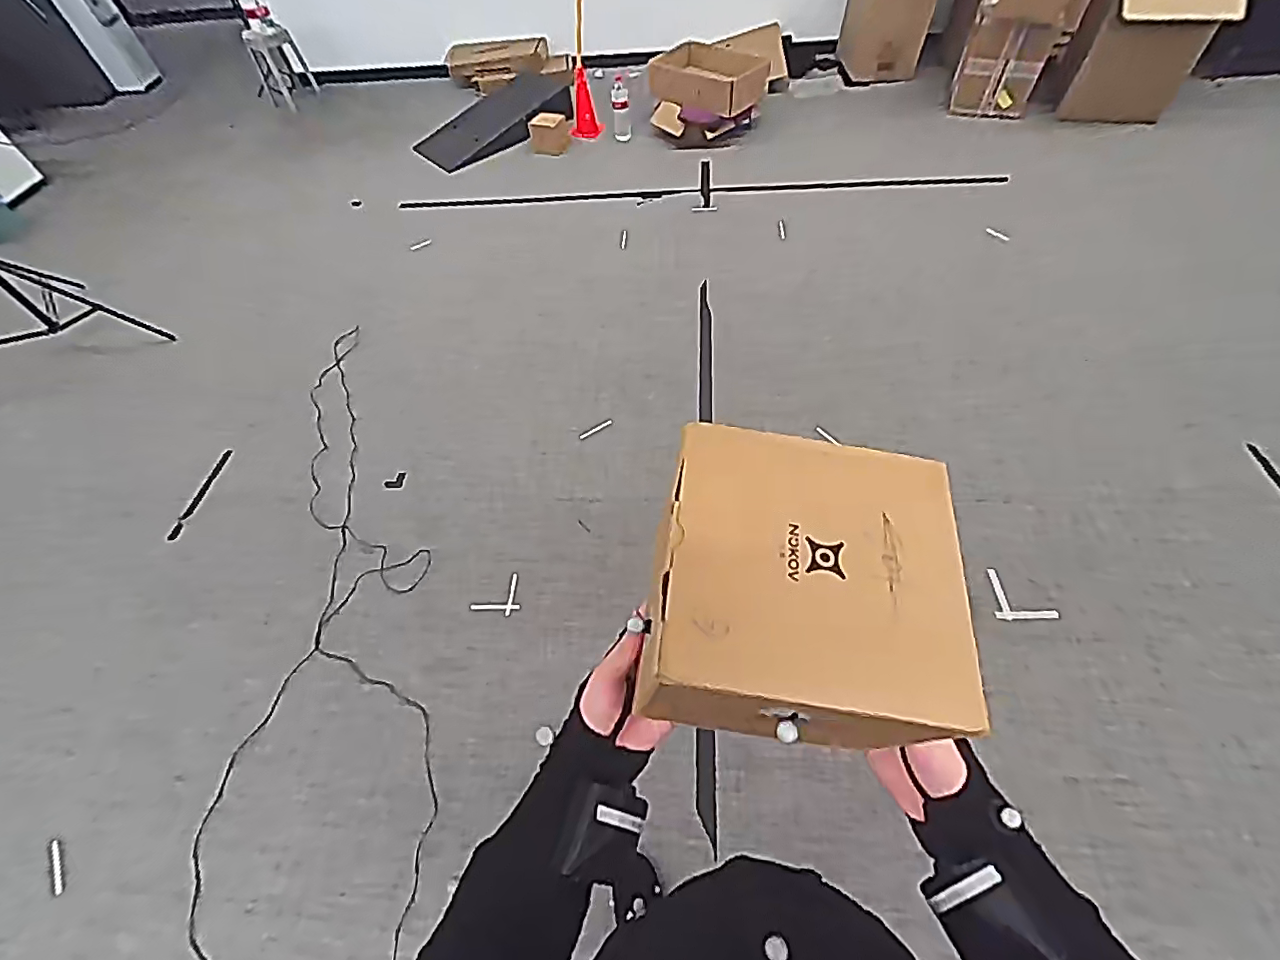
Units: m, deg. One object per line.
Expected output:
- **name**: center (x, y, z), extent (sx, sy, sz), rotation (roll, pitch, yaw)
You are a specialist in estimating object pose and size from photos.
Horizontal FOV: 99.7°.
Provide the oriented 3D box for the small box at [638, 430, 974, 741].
- **small box**: center (0.098, 0.088, 0.396), extent (0.179, 0.176, 0.168), rotation (10, 61, -1)
